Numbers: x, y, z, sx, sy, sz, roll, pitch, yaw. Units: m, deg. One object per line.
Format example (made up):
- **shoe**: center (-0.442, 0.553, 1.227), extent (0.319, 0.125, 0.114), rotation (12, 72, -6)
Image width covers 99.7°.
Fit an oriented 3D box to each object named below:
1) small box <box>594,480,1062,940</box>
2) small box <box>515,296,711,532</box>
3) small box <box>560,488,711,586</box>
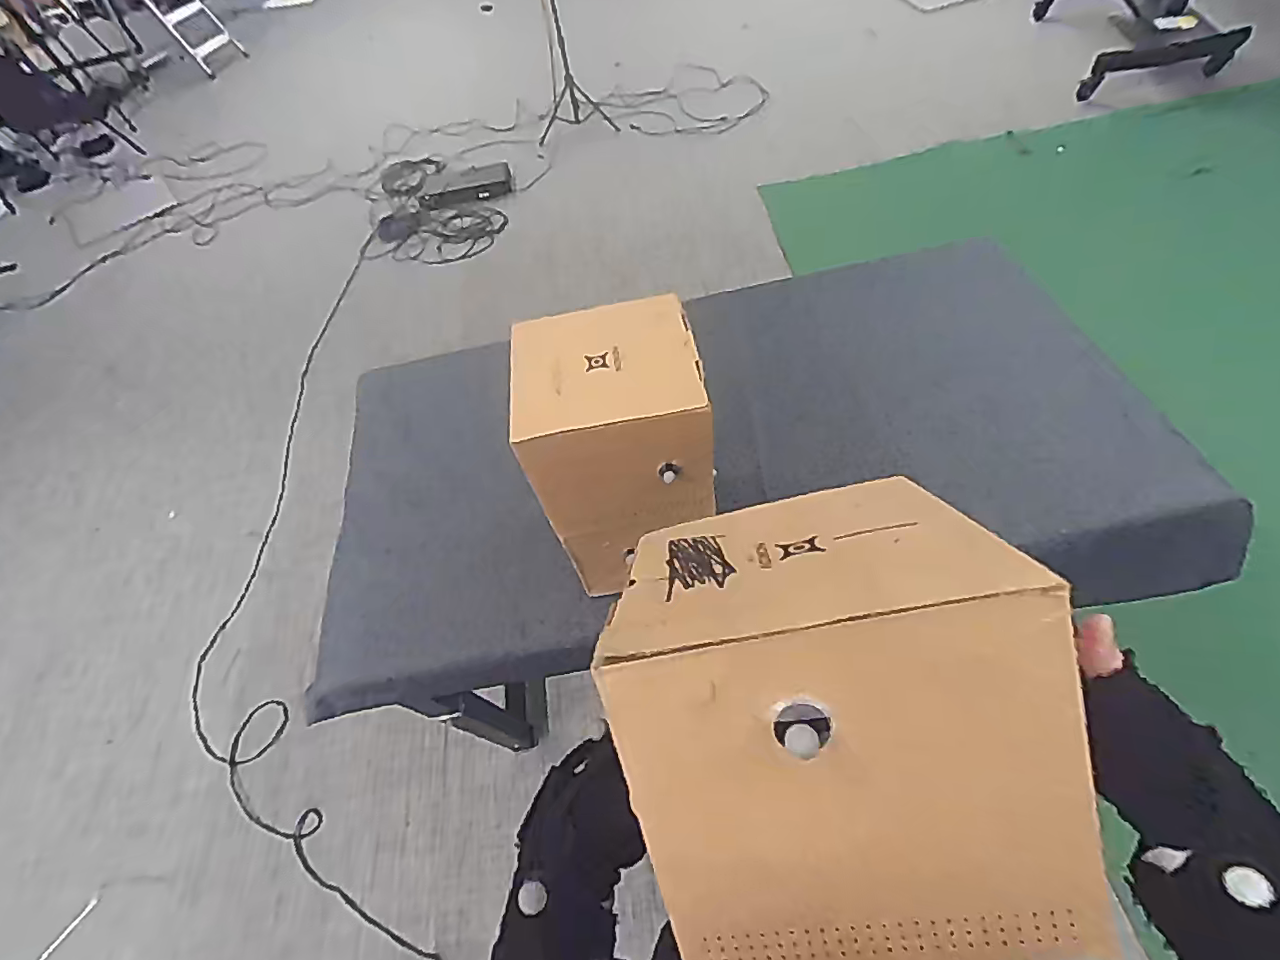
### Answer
- **small box**: center (0.093, 0.112, 0.304), extent (0.179, 0.176, 0.168), rotation (-11, 11, 11)
- **small box**: center (-0.023, -0.064, 0.580), extent (0.179, 0.176, 0.168), rotation (-11, 53, 3)
- **small box**: center (-0.001, 0.026, 0.713), extent (0.179, 0.176, 0.168), rotation (-10, 54, 3)
